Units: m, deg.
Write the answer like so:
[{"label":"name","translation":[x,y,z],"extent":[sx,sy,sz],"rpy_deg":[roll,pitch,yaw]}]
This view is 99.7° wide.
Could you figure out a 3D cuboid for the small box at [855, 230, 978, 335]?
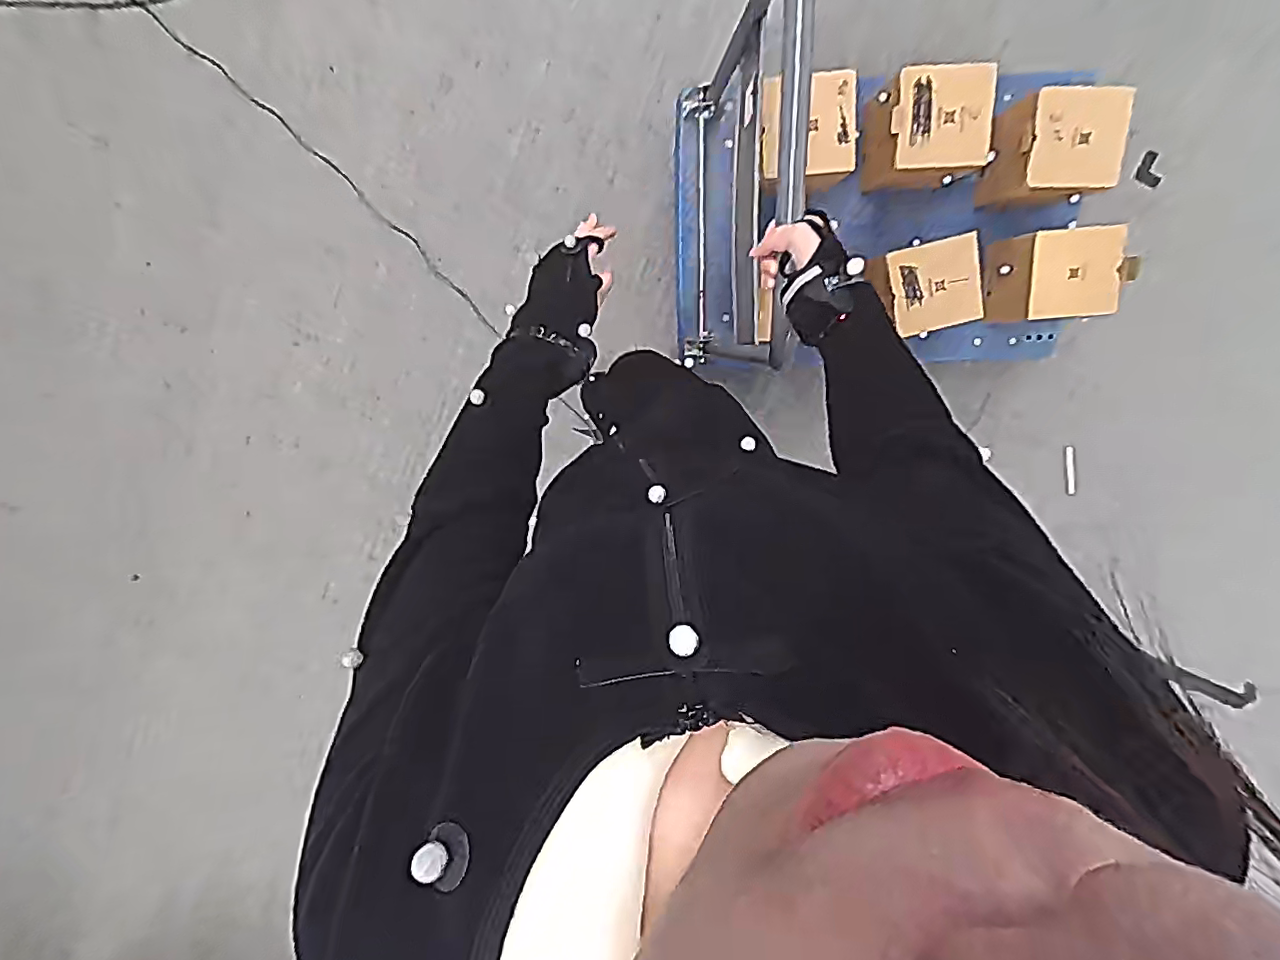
[{"label":"small box","translation":[0.571,-0.406,1.140],"extent":[0.179,0.176,0.168],"rpy_deg":[-13,104,2]}]

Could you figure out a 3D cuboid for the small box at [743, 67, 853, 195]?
[{"label":"small box","translation":[0.301,-0.675,1.065],"extent":[0.179,0.176,0.168],"rpy_deg":[-5,105,1]}]

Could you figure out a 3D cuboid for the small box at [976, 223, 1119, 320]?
[{"label":"small box","translation":[0.842,-0.430,1.138],"extent":[0.179,0.176,0.168],"rpy_deg":[-4,104,0]}]

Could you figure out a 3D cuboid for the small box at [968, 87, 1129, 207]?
[{"label":"small box","translation":[0.800,-0.653,1.077],"extent":[0.179,0.176,0.168],"rpy_deg":[0,104,0]}]

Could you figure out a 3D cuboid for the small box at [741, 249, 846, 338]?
[{"label":"small box","translation":[0.314,-0.387,1.143],"extent":[0.179,0.176,0.168],"rpy_deg":[-1,105,-1]}]
